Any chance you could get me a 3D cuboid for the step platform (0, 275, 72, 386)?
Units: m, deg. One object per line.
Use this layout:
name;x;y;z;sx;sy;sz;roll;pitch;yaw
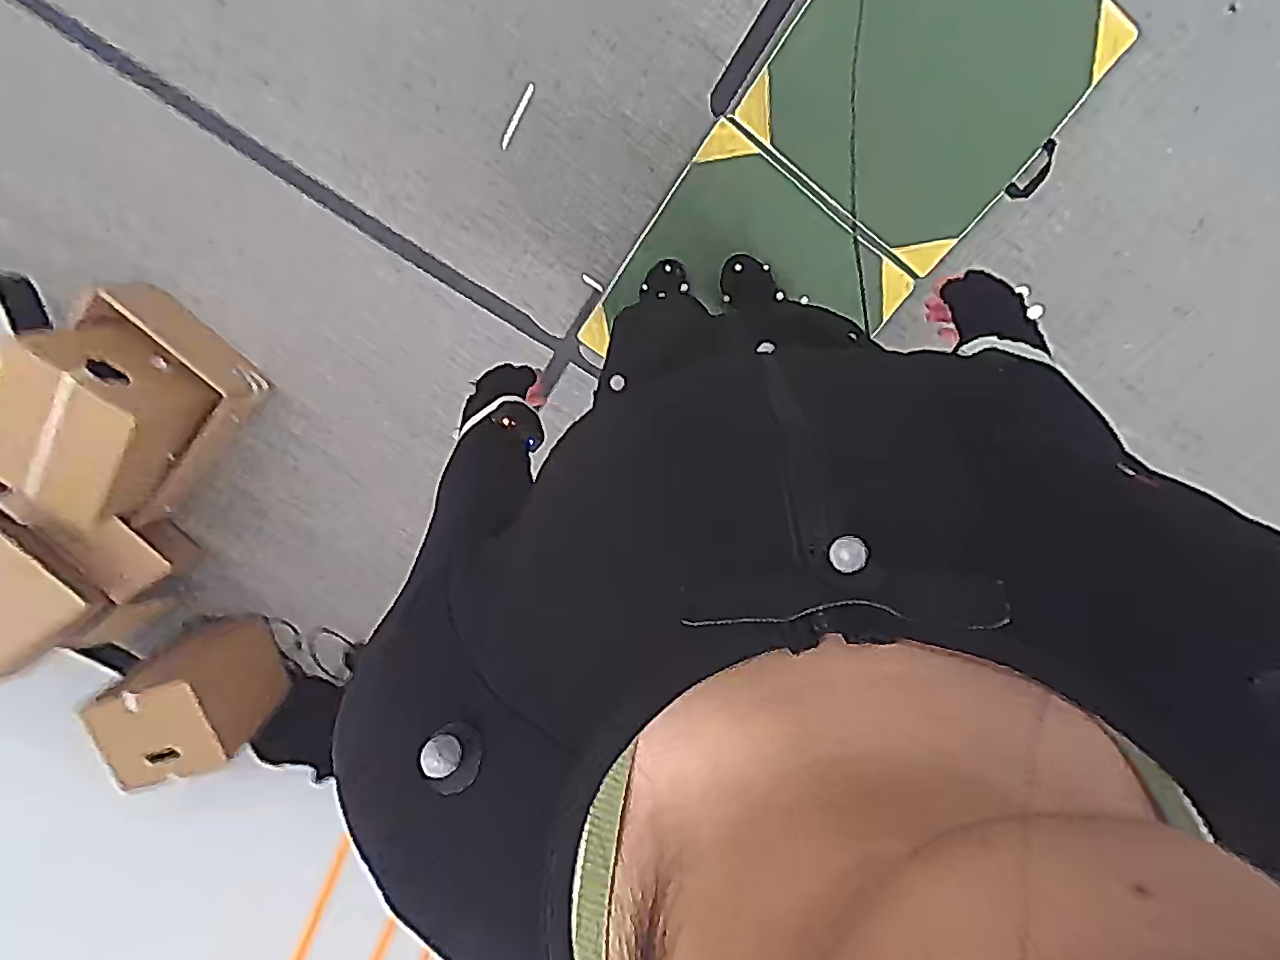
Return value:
step platform;-2.034;-0.442;1.509;0.684;0.204;0.286;6;113;1
